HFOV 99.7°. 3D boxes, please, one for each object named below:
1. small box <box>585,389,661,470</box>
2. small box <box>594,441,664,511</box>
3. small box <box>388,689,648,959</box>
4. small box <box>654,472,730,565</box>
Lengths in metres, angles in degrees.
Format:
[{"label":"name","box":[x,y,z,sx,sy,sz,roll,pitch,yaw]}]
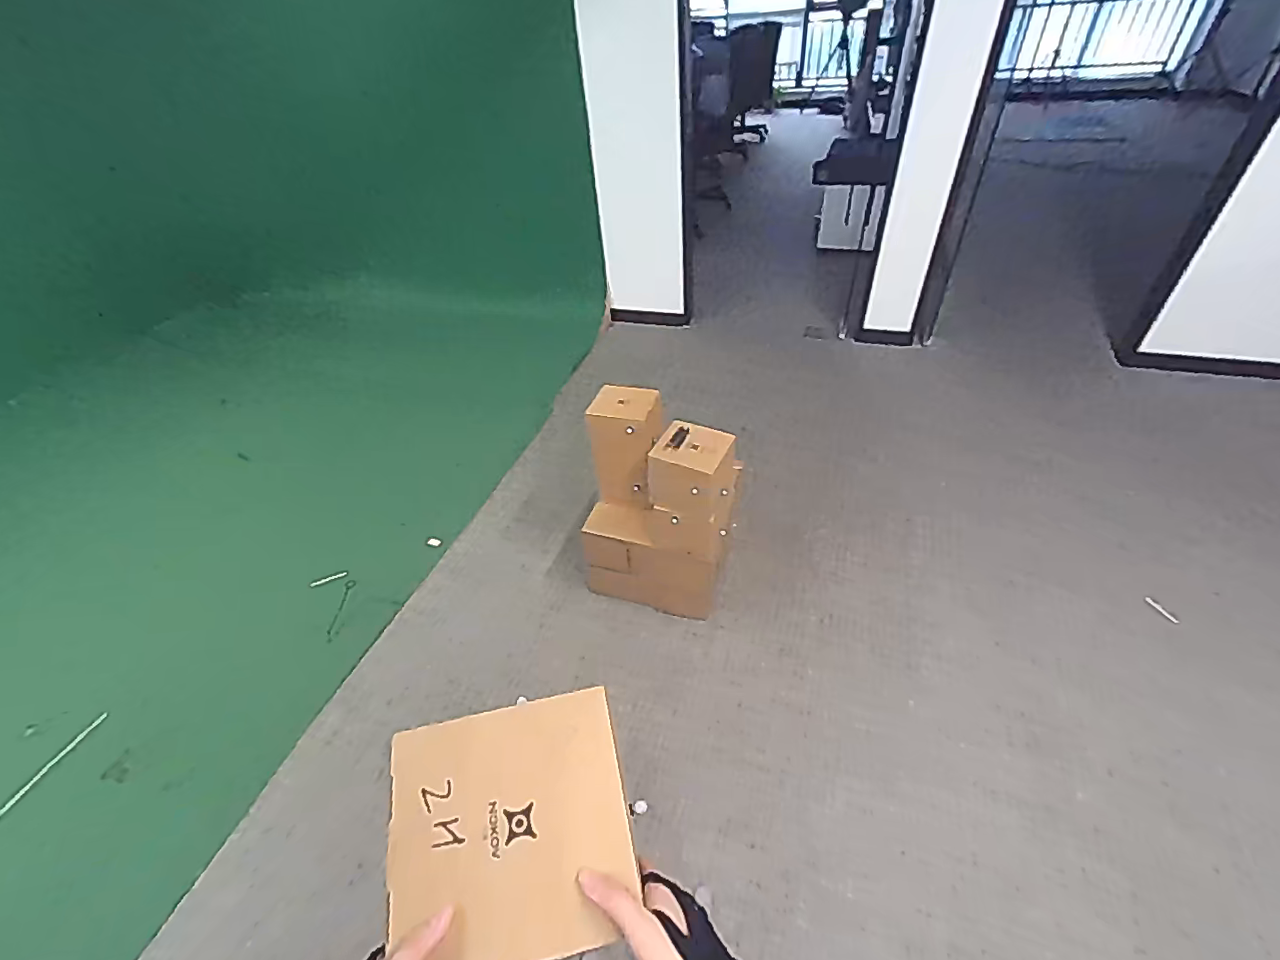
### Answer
[{"label":"small box","box":[-0.043,-0.148,1.591,0.179,0.176,0.168,9,42,15]},{"label":"small box","box":[-0.027,-0.021,1.692,0.179,0.176,0.168,8,41,15]},{"label":"small box","box":[-0.094,0.298,0.469,0.179,0.176,0.168,-10,56,-5]},{"label":"small box","box":[0.145,0.108,1.523,0.168,0.176,0.179,13,44,19]}]
